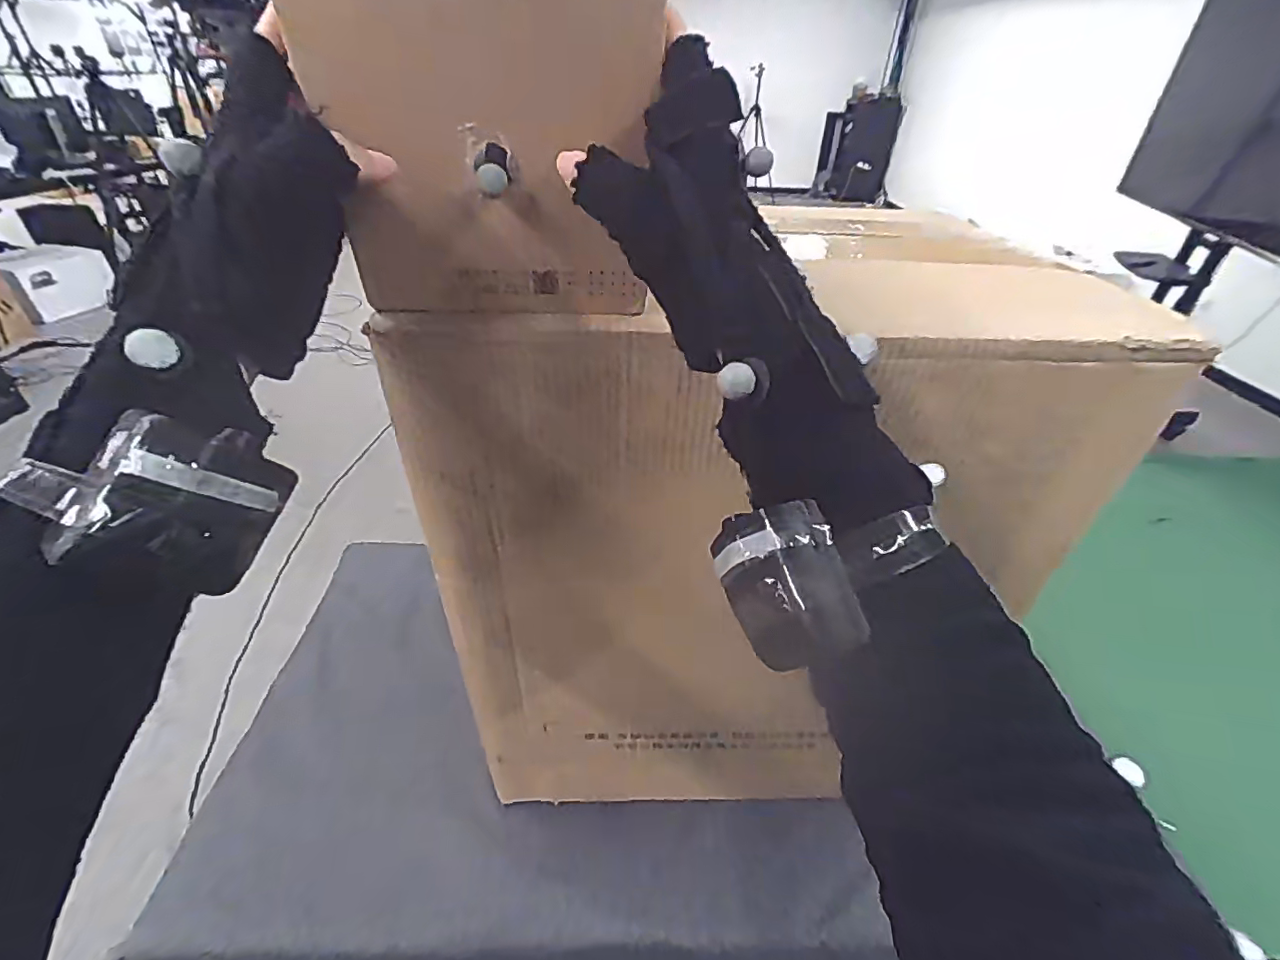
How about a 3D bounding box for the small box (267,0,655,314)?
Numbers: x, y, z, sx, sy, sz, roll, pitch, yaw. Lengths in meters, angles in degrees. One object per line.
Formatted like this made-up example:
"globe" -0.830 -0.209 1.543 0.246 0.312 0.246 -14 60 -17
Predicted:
"small box" -0.078 -0.216 0.329 0.168 0.176 0.179 1 45 -4
